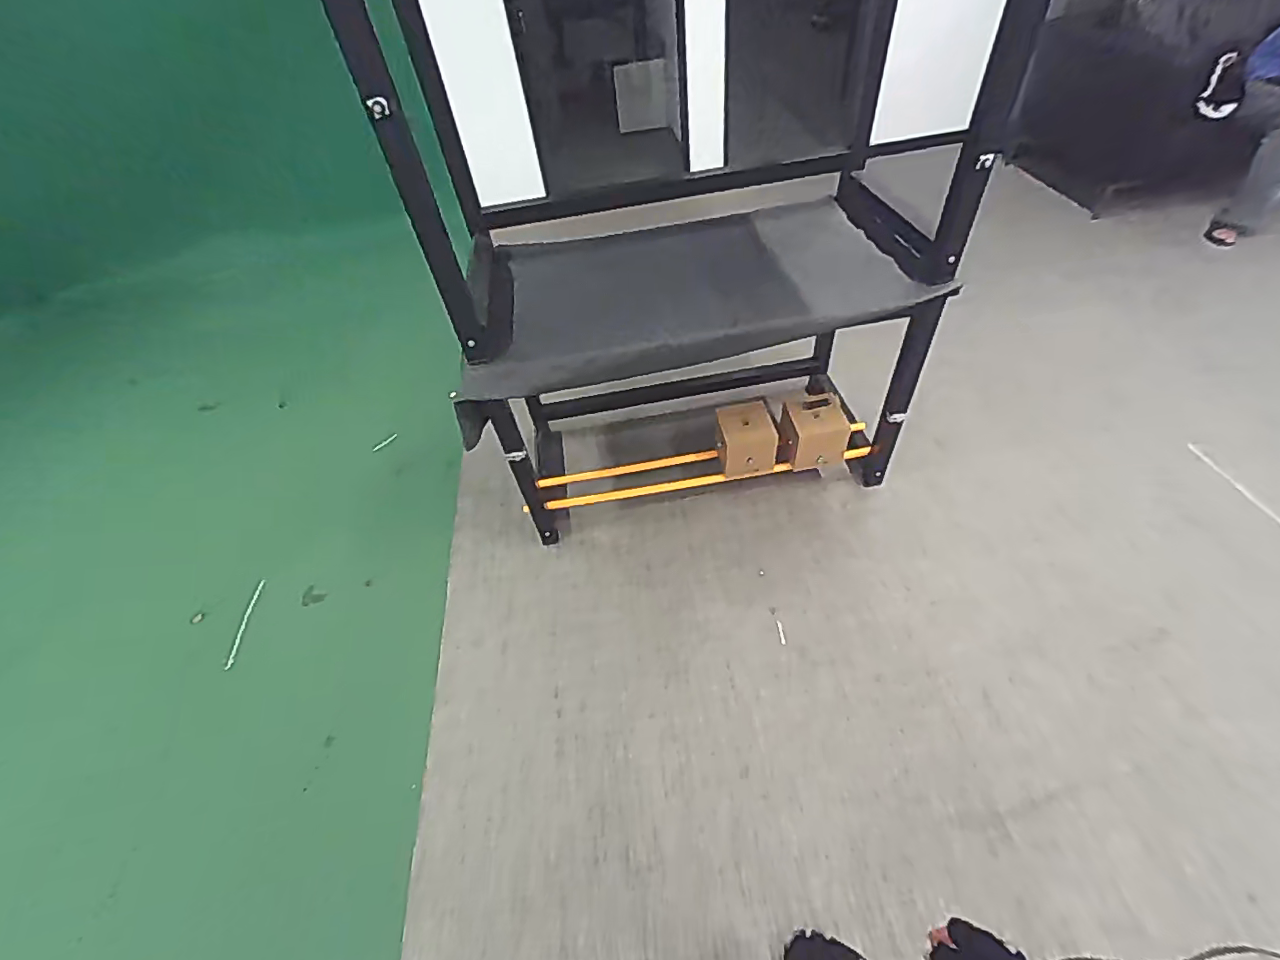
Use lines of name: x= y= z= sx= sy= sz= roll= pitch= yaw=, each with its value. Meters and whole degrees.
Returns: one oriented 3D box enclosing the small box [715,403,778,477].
small box: x=0.347 y=-0.124 z=1.790 sx=0.168 sy=0.176 sz=0.179 roll=-10 pitch=49 yaw=-2
